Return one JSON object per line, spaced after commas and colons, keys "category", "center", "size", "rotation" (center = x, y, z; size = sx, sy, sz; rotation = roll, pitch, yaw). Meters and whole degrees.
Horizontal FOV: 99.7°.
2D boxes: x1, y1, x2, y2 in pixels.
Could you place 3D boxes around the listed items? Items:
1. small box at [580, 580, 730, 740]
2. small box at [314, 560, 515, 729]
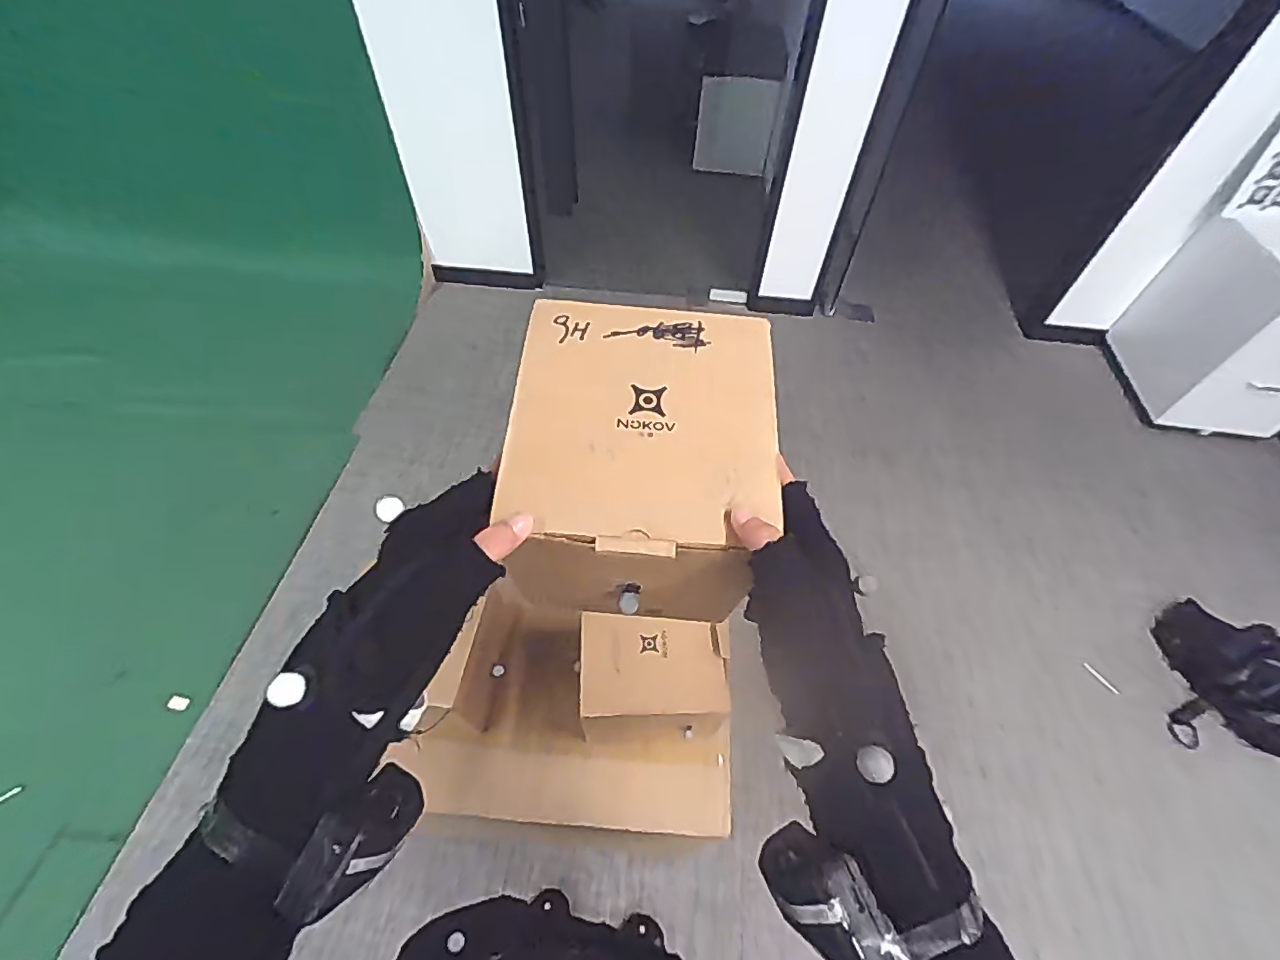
{"category": "small box", "center": [0.013, 0.246, 0.730], "size": [0.179, 0.176, 0.168], "rotation": [-2, 55, -2]}
{"category": "small box", "center": [-0.286, 0.227, 0.733], "size": [0.179, 0.176, 0.168], "rotation": [8, 56, 3]}
